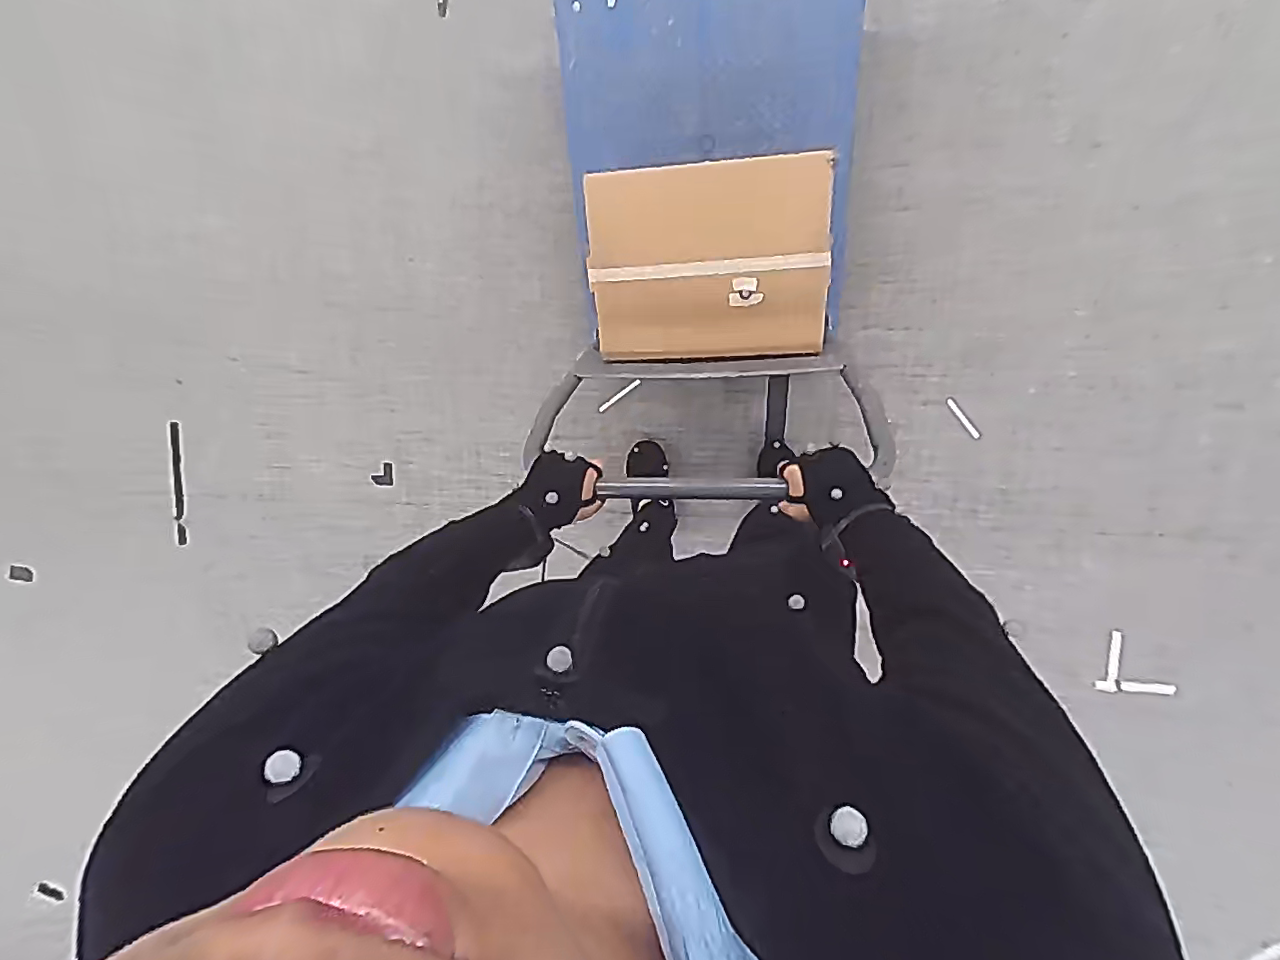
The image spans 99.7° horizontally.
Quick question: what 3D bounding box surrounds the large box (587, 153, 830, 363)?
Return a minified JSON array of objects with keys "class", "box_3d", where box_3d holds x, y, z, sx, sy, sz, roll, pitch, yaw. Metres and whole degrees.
[{"class":"large box","box_3d":[0.137,-0.431,1.079,0.408,0.320,0.320,-1,115,9]}]
